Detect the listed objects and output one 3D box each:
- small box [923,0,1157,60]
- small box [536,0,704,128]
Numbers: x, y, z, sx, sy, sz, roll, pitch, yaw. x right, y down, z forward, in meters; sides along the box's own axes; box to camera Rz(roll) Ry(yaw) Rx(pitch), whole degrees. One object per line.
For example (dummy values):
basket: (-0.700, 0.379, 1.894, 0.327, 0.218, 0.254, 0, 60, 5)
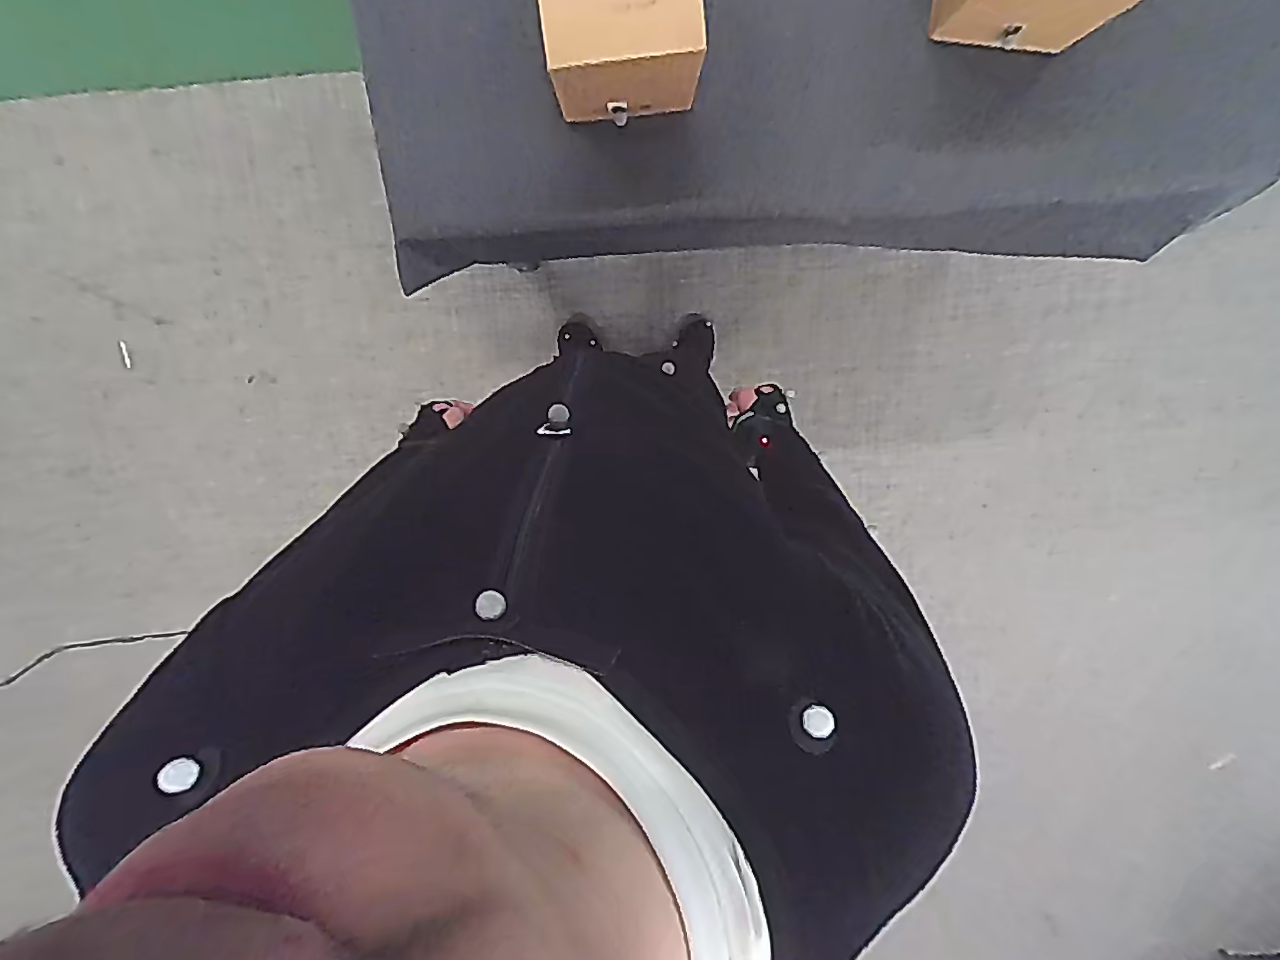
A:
small box: (0.454, -0.599, 0.596, 0.179, 0.176, 0.168, 4, 106, -3)
small box: (-0.023, -0.520, 0.594, 0.168, 0.176, 0.179, -4, 106, 2)
